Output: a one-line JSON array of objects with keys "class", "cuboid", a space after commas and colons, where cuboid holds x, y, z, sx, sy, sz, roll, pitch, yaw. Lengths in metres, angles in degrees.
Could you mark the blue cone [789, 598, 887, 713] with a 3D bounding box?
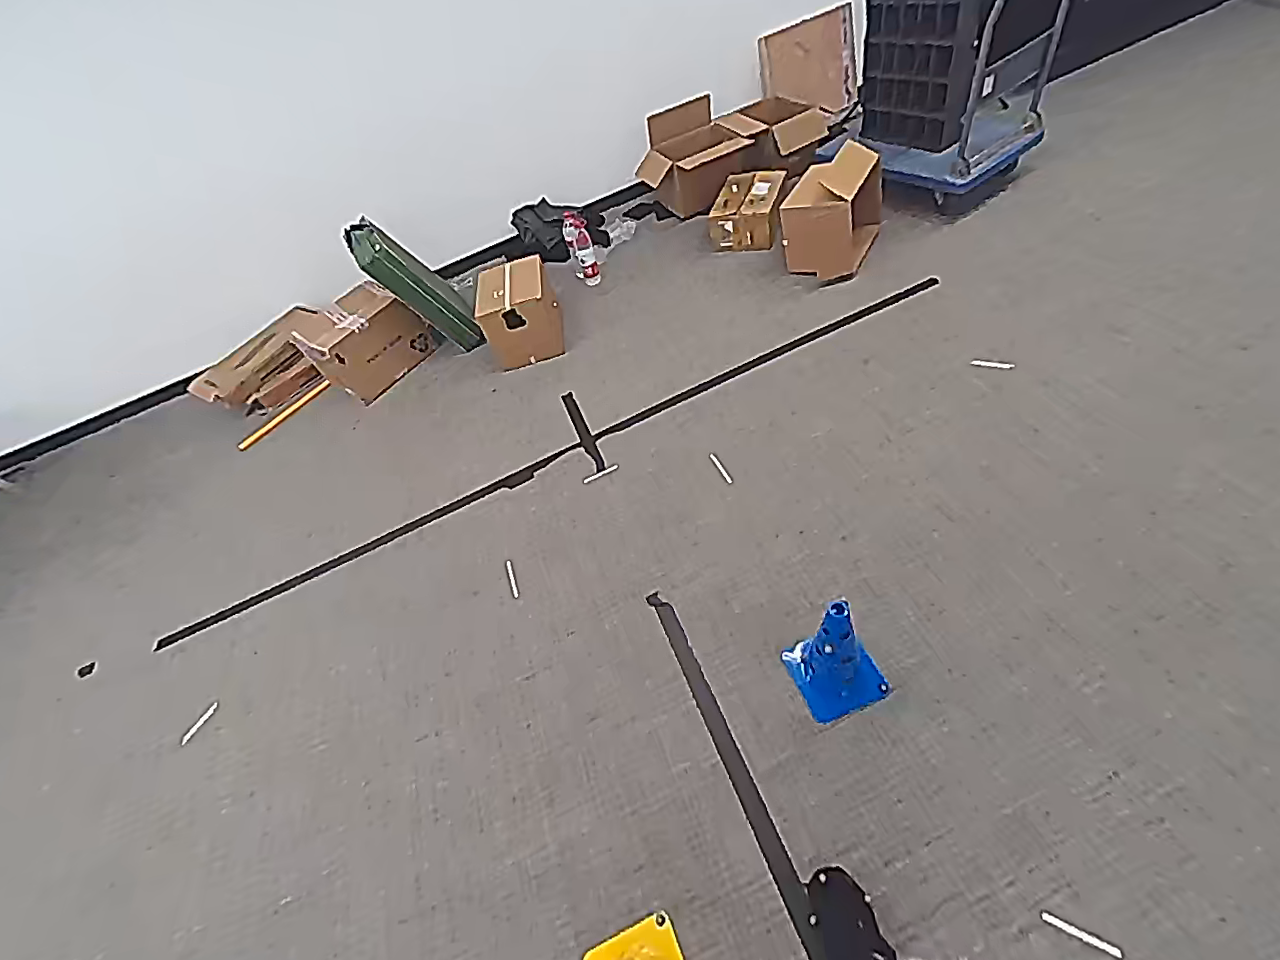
[{"class": "blue cone", "cuboid": [0.456, 0.375, 1.246, 0.192, 0.380, 0.193, -21, 48, -2]}]
